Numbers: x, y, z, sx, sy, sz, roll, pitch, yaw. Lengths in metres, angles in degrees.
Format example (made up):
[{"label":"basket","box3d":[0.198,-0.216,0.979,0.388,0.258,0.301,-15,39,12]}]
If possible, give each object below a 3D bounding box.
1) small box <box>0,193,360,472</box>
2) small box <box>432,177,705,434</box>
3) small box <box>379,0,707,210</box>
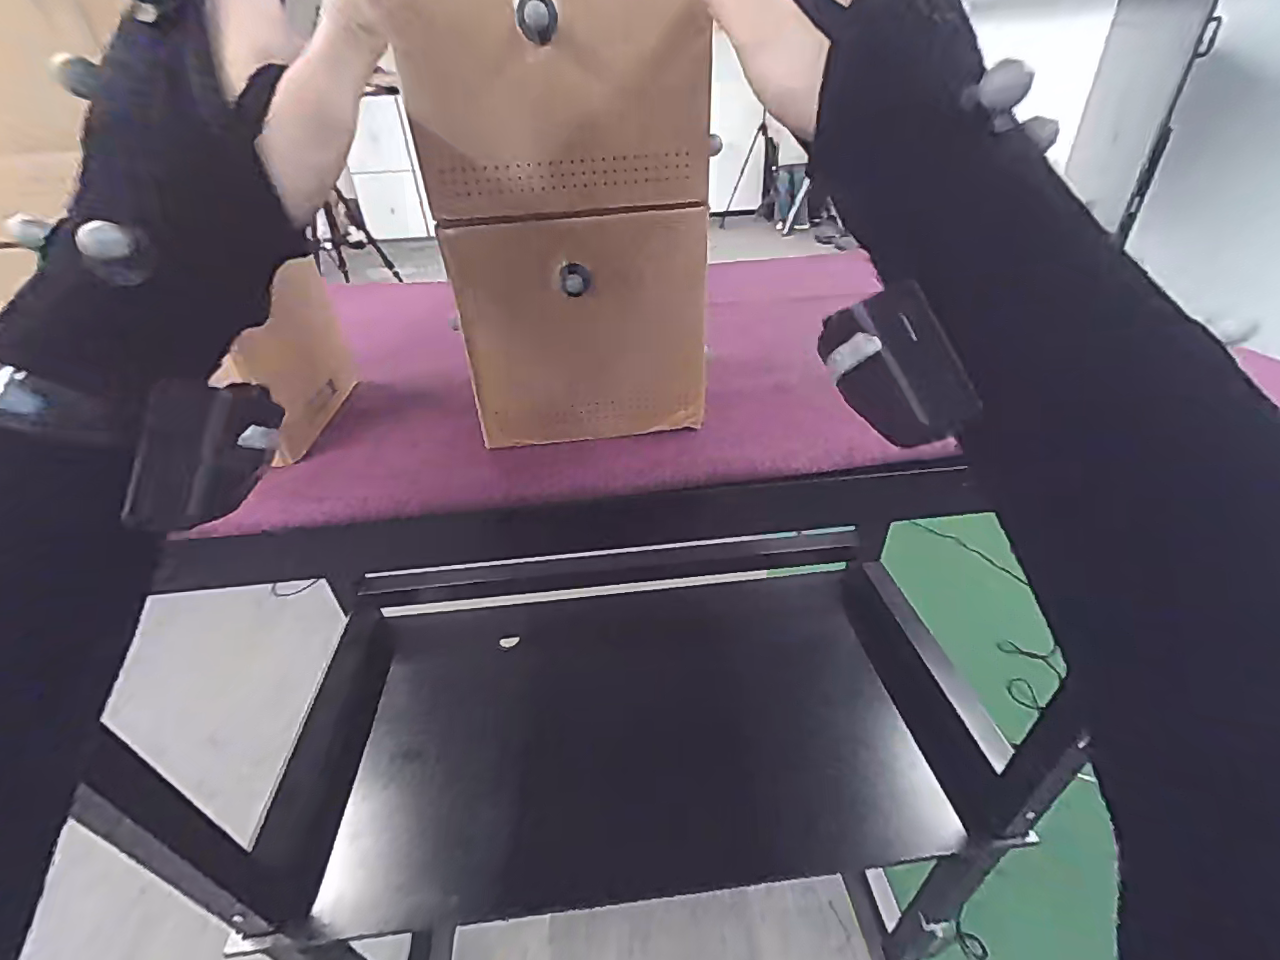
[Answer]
[{"label":"small box","box3d":[-0.360,-0.119,0.430,0.179,0.176,0.168,-7,35,-4]},{"label":"small box","box3d":[-0.046,-0.149,0.446,0.179,0.176,0.168,-6,35,-4]},{"label":"small box","box3d":[-0.055,-0.283,0.353,0.179,0.176,0.168,-8,35,-3]}]
